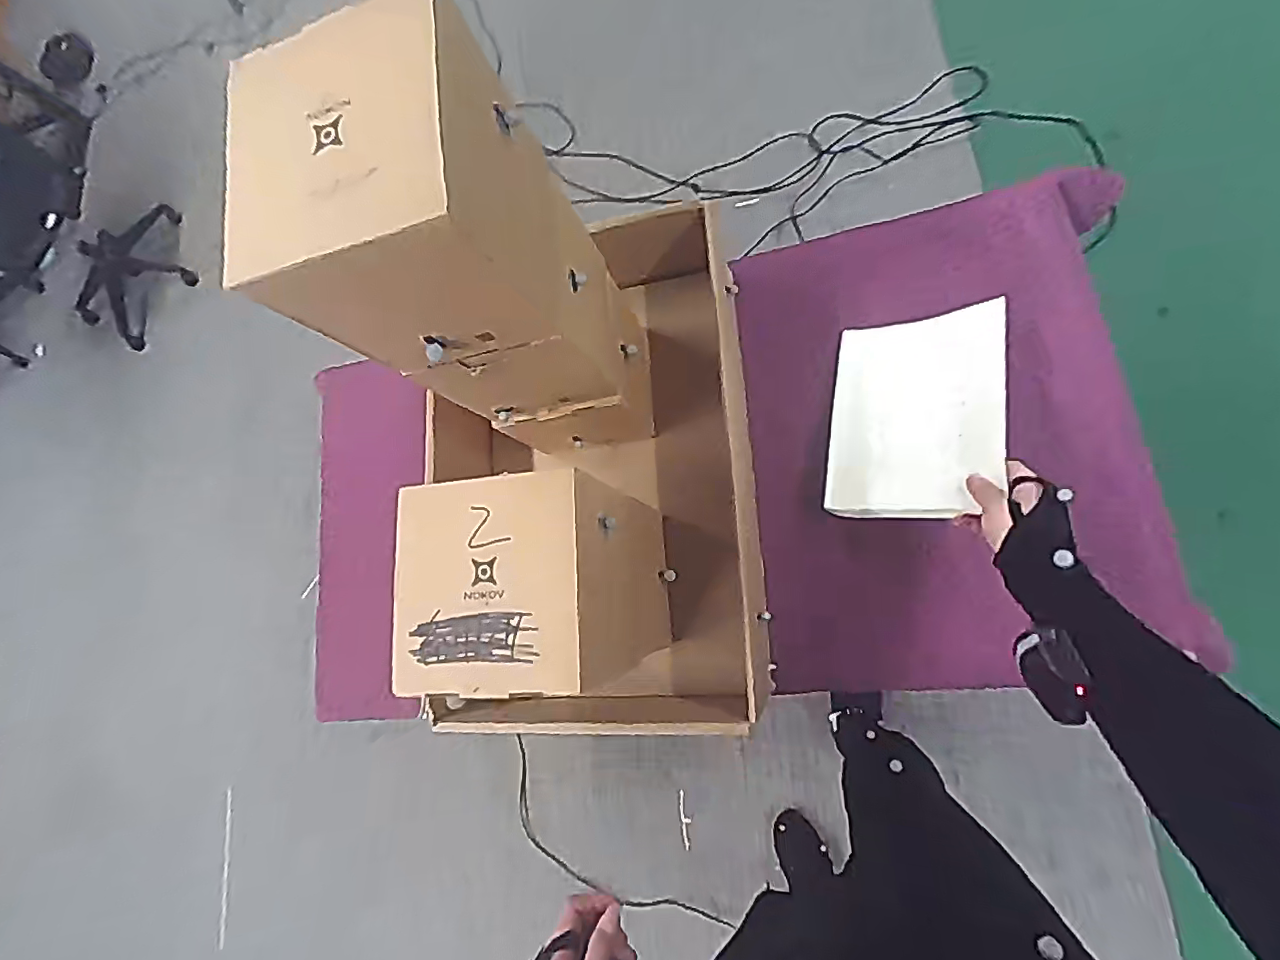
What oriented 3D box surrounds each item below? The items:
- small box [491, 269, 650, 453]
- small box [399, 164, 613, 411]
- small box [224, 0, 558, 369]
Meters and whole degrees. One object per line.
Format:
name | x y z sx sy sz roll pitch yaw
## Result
small box | -0.090 -0.148 0.730 0.168 0.176 0.179 -9 79 14
small box | -0.134 -0.182 0.576 0.168 0.176 0.179 -10 78 13
small box | -0.175 -0.209 0.421 0.168 0.176 0.179 -10 79 14
